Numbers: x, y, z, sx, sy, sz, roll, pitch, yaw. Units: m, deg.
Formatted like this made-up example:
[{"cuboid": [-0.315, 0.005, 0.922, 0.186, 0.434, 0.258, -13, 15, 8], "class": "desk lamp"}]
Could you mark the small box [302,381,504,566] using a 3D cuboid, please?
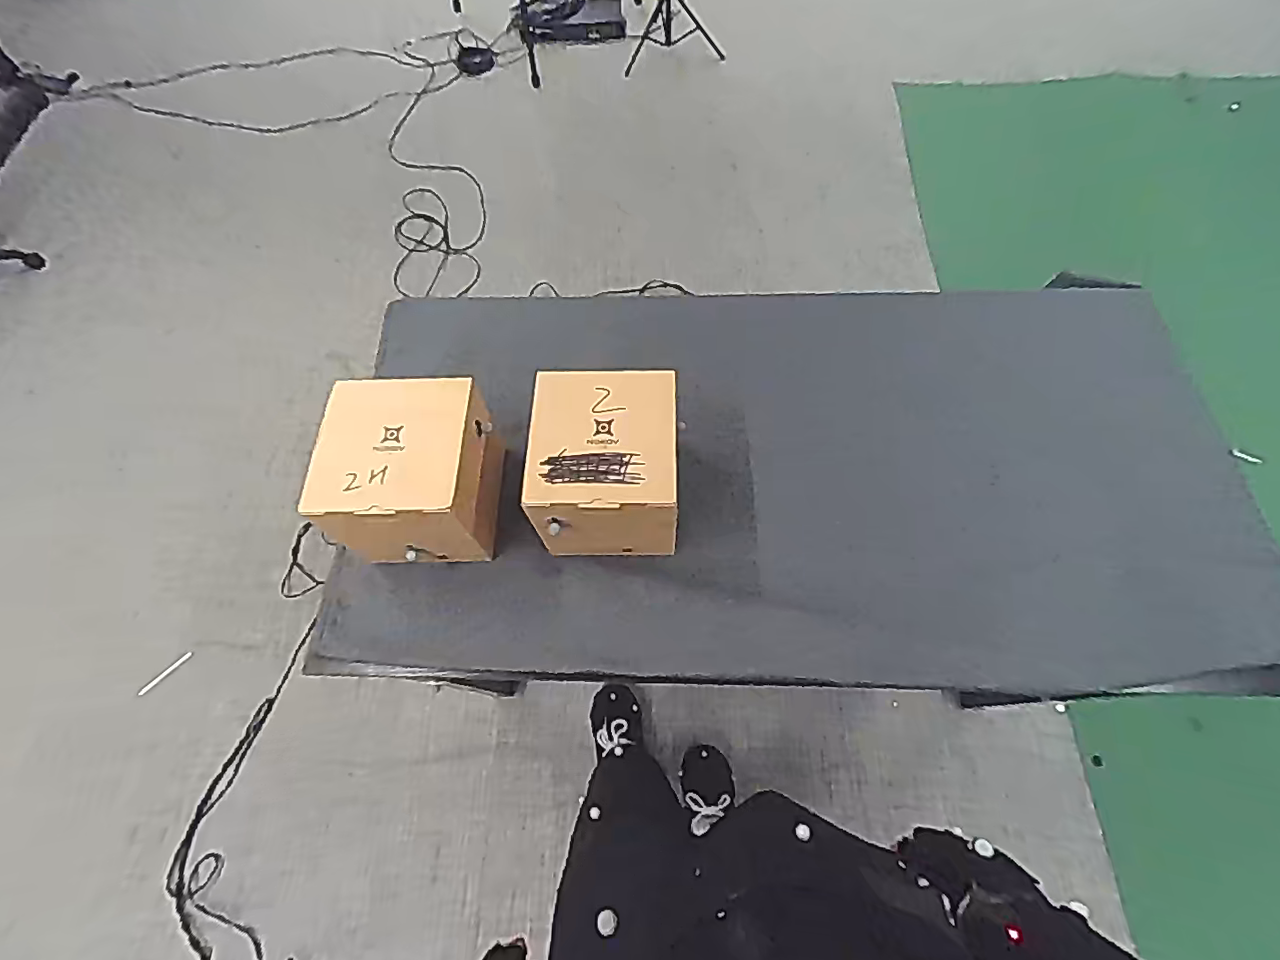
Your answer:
[{"cuboid": [-0.274, -0.003, 0.675, 0.168, 0.176, 0.179, -1, 63, 1], "class": "small box"}]
